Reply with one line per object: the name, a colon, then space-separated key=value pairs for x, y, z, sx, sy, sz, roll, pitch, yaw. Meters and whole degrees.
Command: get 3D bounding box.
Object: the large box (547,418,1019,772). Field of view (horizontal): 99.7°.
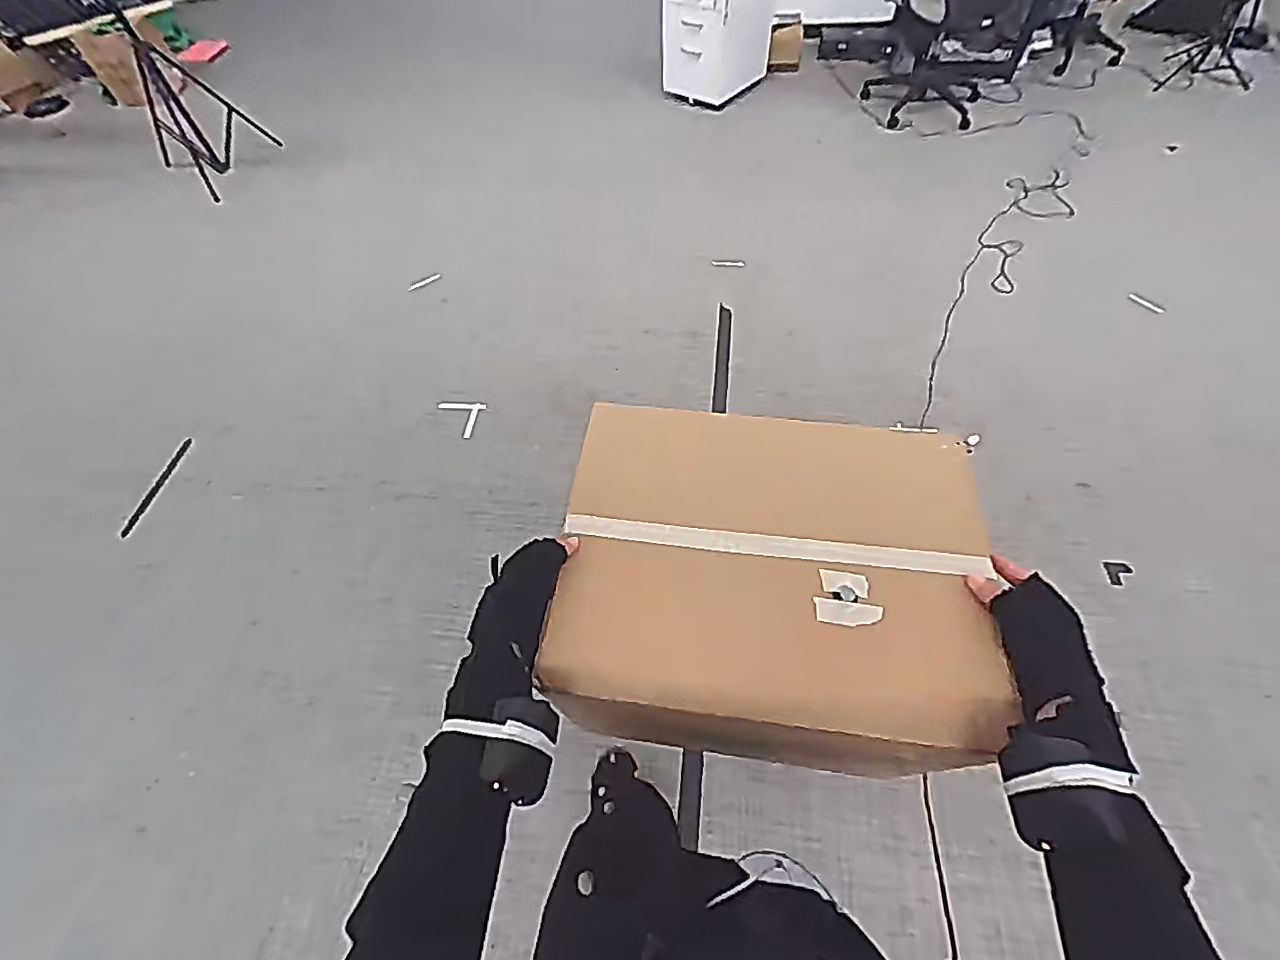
large box: x=0.132 y=0.150 z=0.656 sx=0.408 sy=0.320 sz=0.320 roll=6 pitch=60 yaw=5
